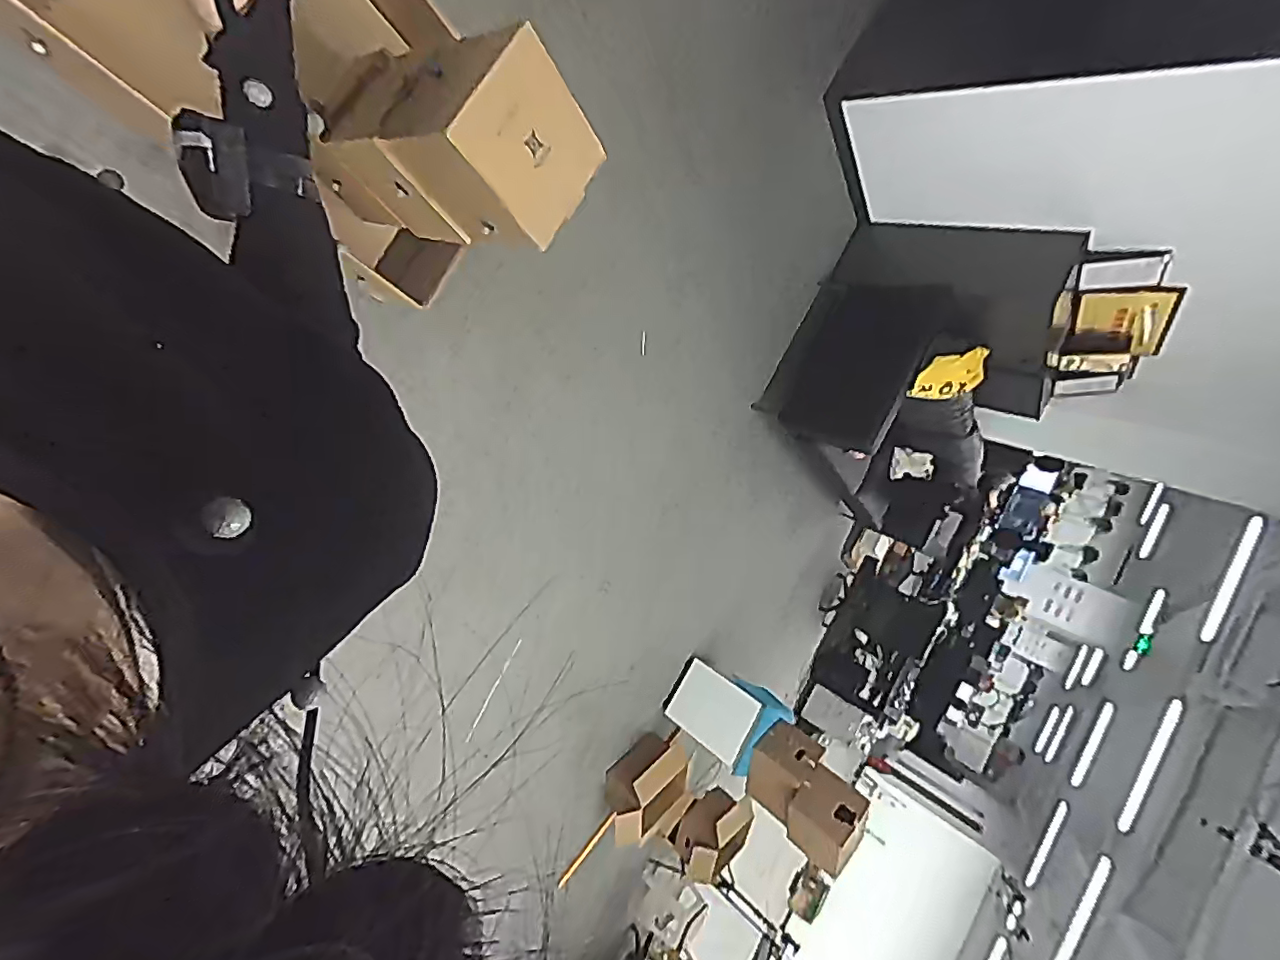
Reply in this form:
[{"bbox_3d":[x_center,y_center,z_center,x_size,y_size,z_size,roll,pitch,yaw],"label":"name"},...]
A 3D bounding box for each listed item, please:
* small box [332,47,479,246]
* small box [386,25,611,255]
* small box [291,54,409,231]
[{"bbox_3d":[-0.300,-0.467,0.780,0.168,0.176,0.179,-58,142,-8],"label":"small box"},{"bbox_3d":[-0.177,-0.418,0.686,0.168,0.176,0.179,-59,141,-8],"label":"small box"},{"bbox_3d":[-0.423,-0.530,0.870,0.179,0.176,0.168,-58,142,-10],"label":"small box"}]
